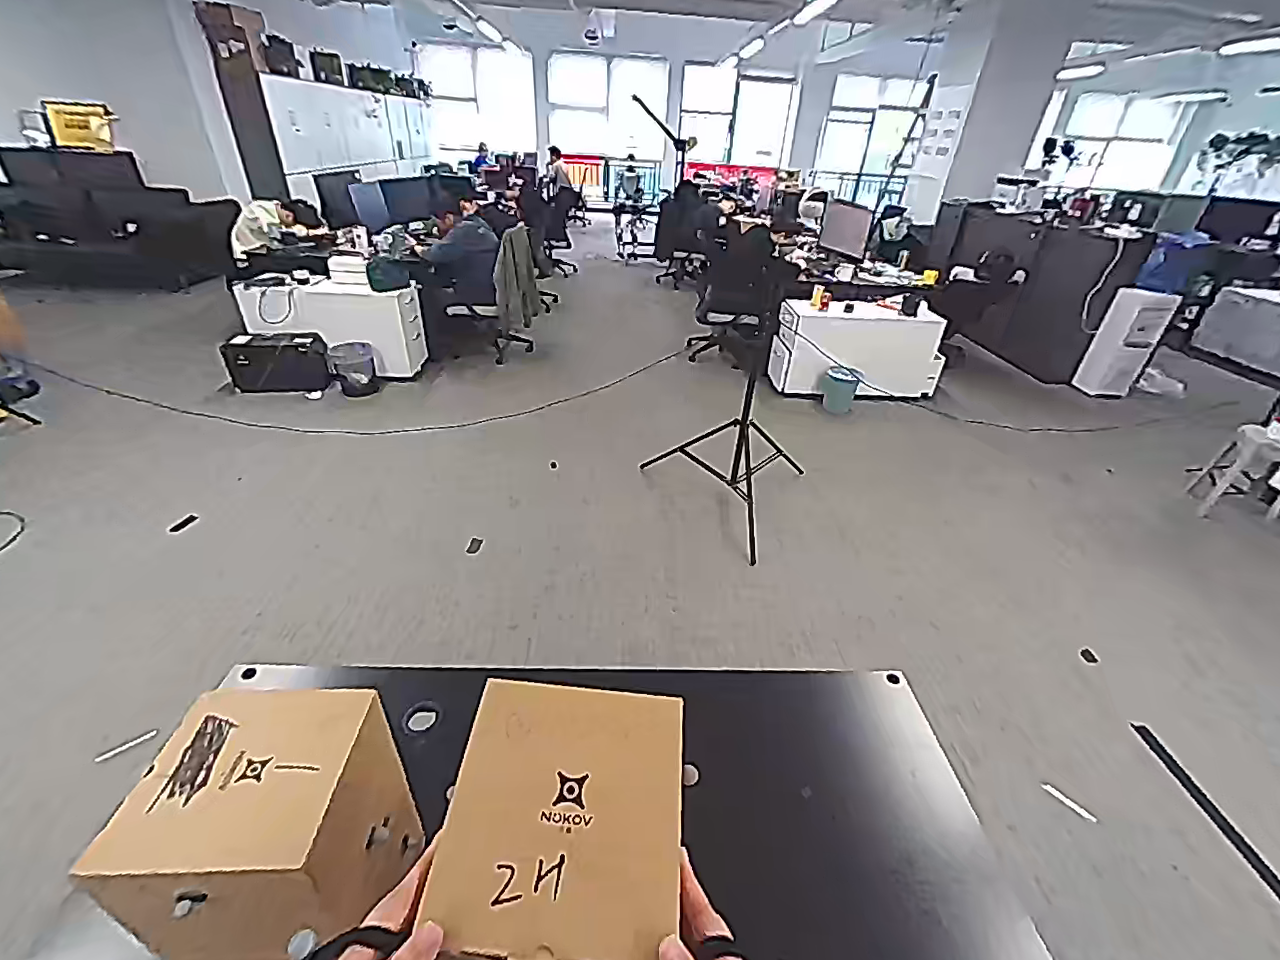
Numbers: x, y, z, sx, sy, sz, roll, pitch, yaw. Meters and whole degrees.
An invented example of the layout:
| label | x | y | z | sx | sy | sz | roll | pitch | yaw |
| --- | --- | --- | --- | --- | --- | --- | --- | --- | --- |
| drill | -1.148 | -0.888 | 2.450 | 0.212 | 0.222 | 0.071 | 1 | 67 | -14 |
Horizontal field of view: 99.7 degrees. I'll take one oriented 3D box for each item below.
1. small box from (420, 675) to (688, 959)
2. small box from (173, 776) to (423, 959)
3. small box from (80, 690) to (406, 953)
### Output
| label | x | y | z | sx | sy | sz | roll | pitch | yaw |
| --- | --- | --- | --- | --- | --- | --- | --- | --- | --- |
| small box | -0.054 | 0.288 | 0.441 | 0.168 | 0.176 | 0.179 | 5 | 42 | 1 |
| small box | -0.362 | 0.468 | 0.619 | 0.168 | 0.176 | 0.179 | 1 | 33 | -3 |
| small box | -0.354 | 0.330 | 0.530 | 0.179 | 0.176 | 0.168 | 1 | 32 | -4 |
